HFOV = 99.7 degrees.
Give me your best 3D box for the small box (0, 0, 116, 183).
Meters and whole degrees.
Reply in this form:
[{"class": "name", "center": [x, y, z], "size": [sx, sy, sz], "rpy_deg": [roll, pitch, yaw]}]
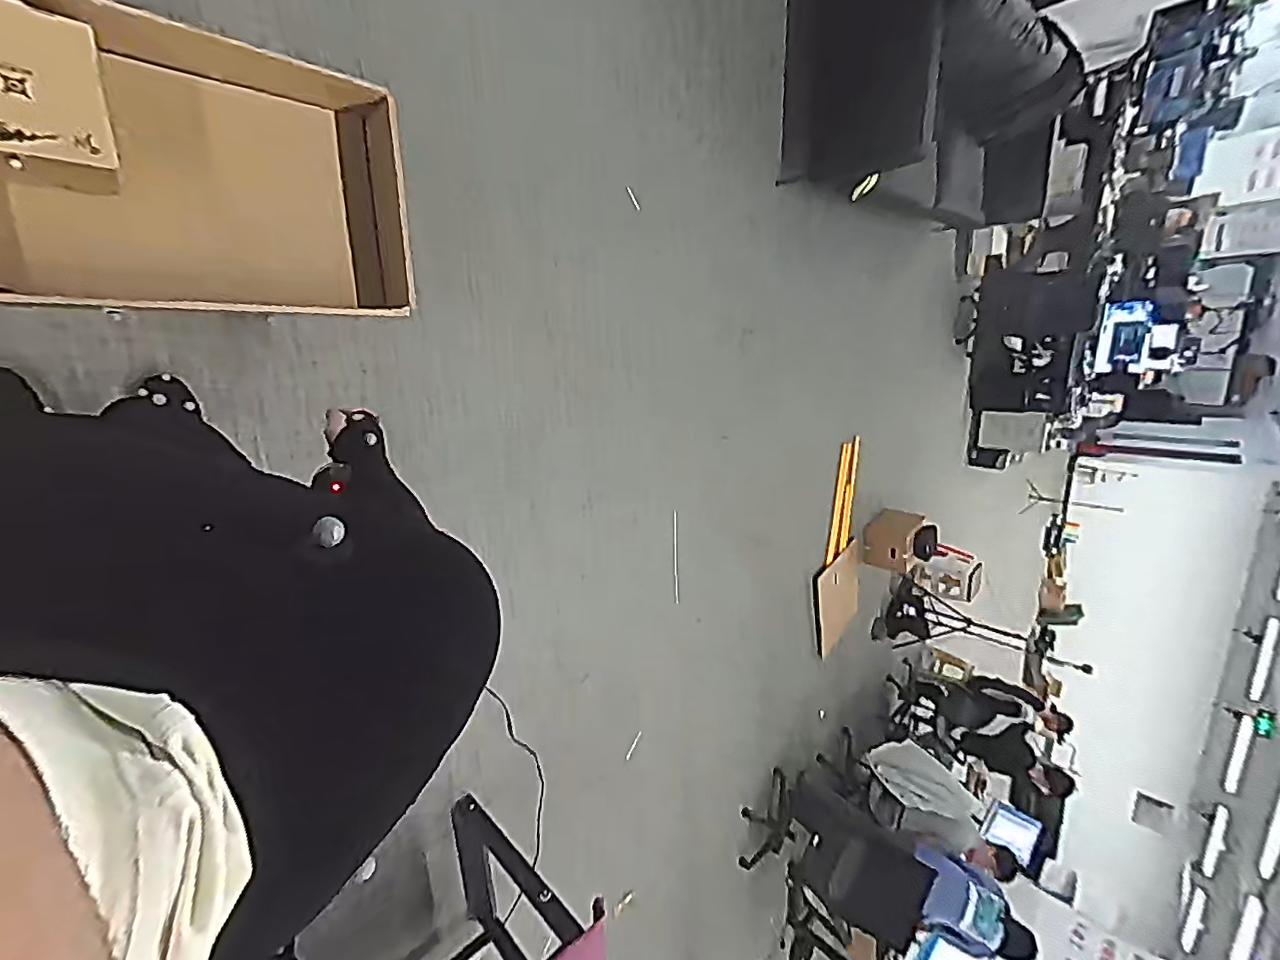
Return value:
[{"class": "small box", "center": [-0.825, -0.523, 0.716], "size": [0.168, 0.176, 0.179], "rpy_deg": [-11, 106, -43]}]
